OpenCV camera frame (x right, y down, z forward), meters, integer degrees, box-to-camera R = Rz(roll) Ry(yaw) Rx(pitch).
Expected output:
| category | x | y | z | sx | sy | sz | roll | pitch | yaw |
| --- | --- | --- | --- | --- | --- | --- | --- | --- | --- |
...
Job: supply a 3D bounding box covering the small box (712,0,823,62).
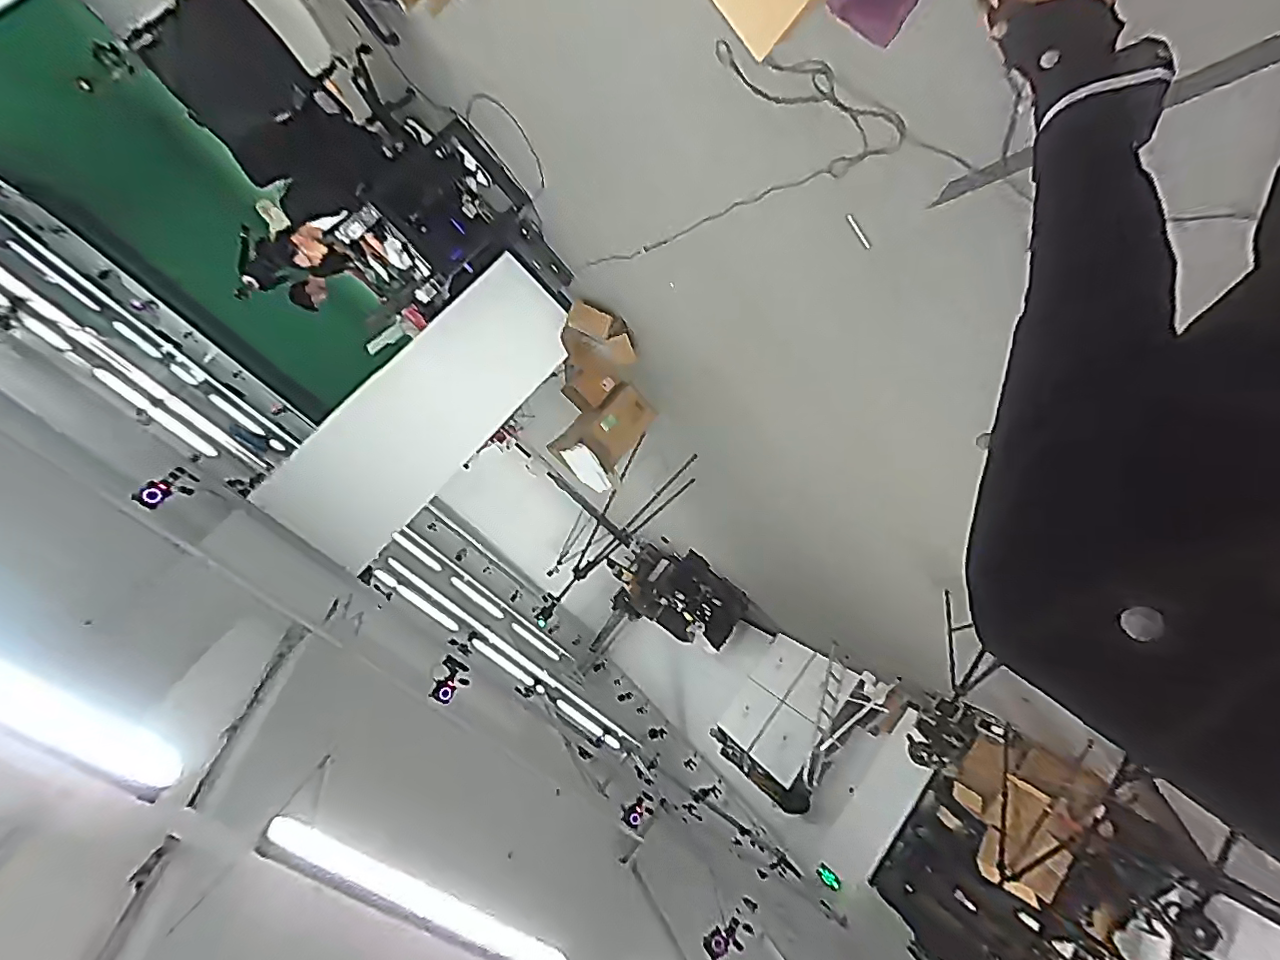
| category | x | y | z | sx | sy | sz | roll | pitch | yaw |
| --- | --- | --- | --- | --- | --- | --- | --- | --- | --- |
| small box | 0.181 | -0.665 | 0.634 | 0.168 | 0.176 | 0.179 | 44 | 166 | -15 |
